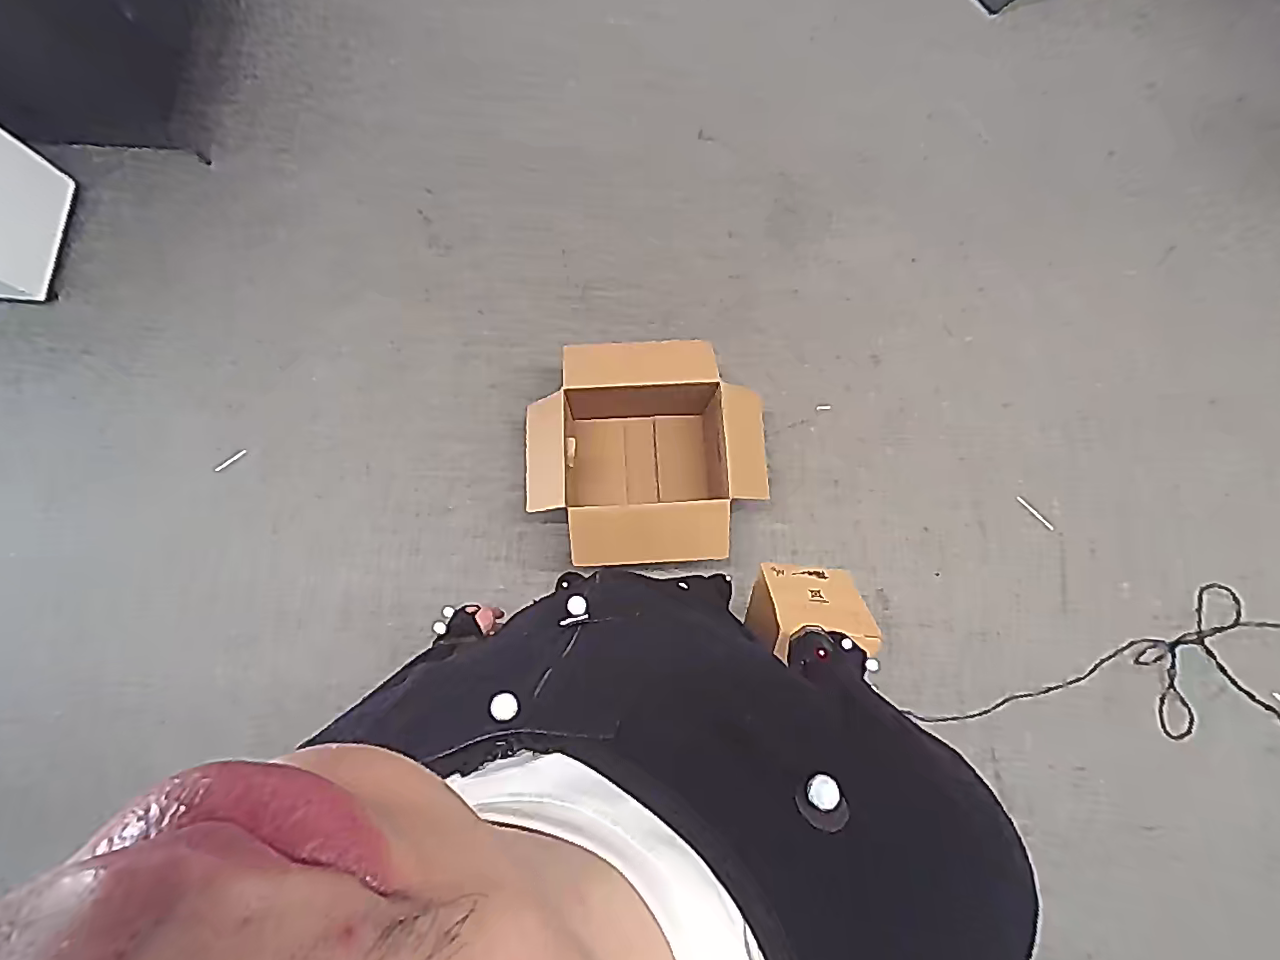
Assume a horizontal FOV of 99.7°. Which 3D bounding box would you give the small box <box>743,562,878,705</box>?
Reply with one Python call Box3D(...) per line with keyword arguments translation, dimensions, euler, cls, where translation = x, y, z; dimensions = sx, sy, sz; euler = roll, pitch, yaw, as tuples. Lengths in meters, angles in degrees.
Box3D(translation=(0.288, 0.270, 0.956), dimensions=(0.168, 0.179, 0.176), euler=(6, 118, -3), cls="small box")
